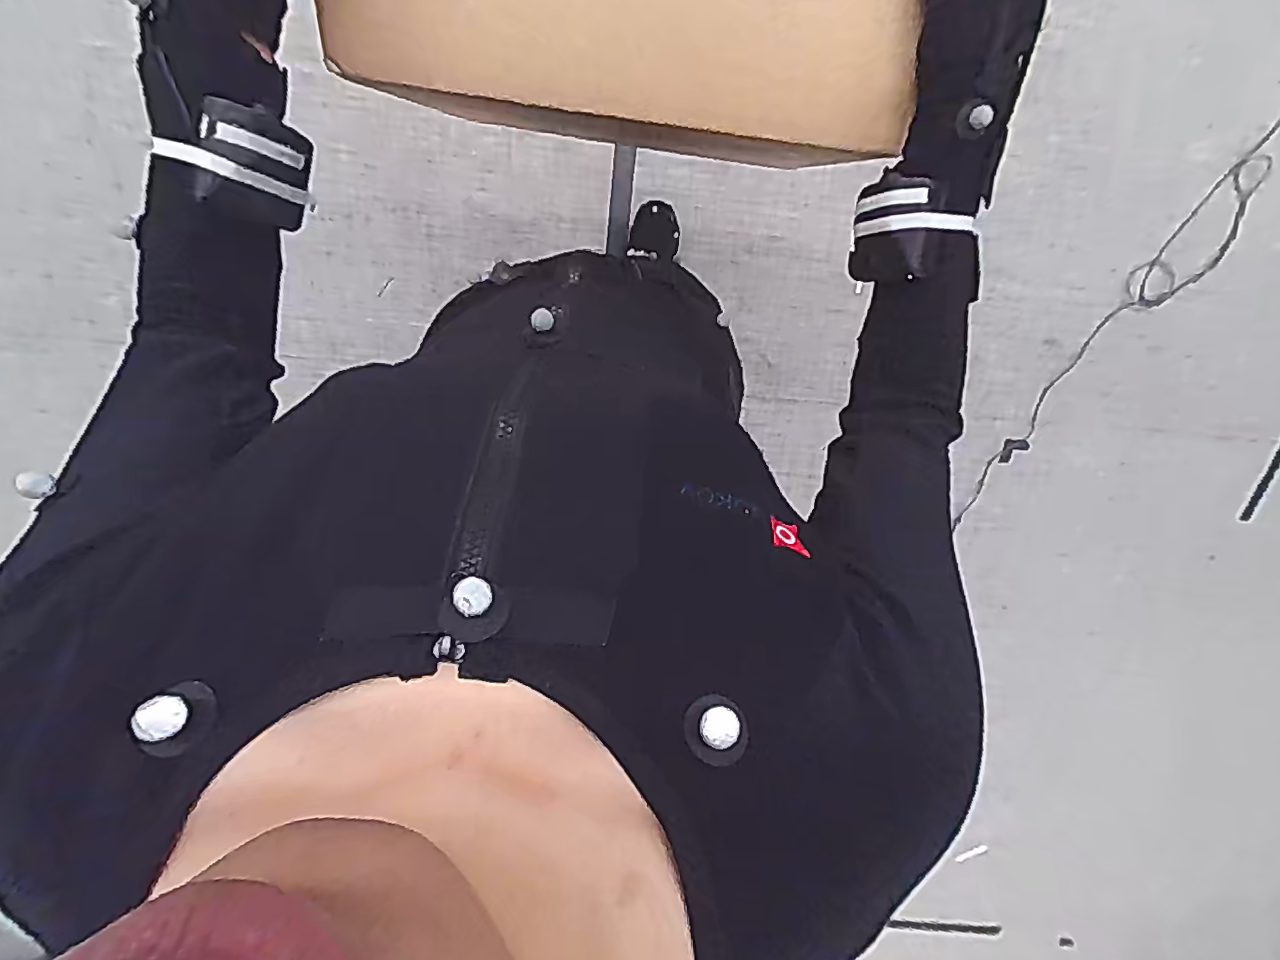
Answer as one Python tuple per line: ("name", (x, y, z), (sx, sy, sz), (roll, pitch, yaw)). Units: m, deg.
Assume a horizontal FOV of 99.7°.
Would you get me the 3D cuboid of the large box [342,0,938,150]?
("large box", (0.009, -0.477, 0.441), (0.408, 0.320, 0.320), (6, 120, -3))
